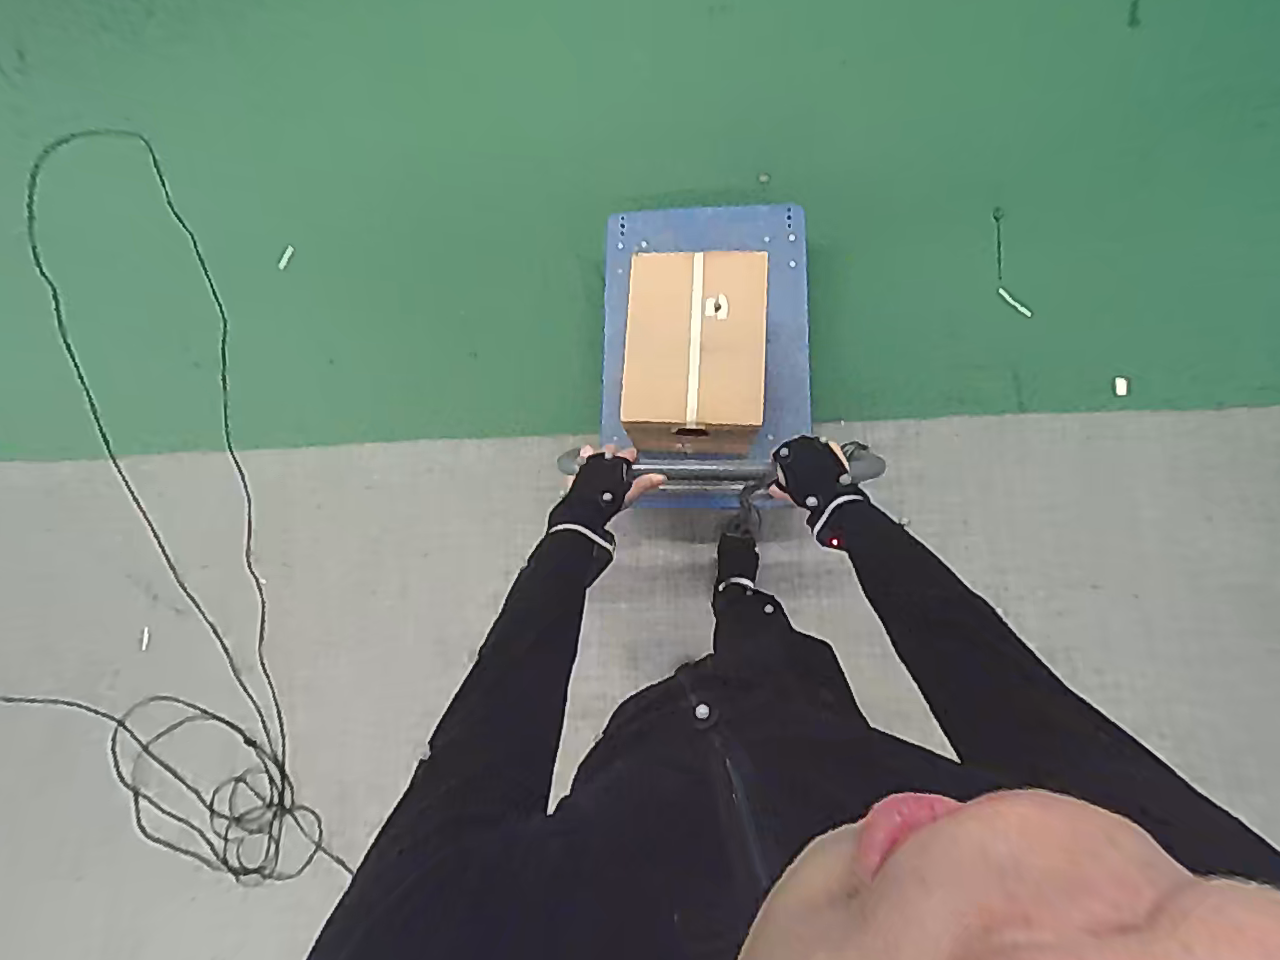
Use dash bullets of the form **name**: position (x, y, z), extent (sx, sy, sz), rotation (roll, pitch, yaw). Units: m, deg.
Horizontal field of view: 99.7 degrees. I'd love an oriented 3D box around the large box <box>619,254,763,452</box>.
- **large box**: position (0.134, -0.296, 1.356), extent (0.320, 0.320, 0.408), rotation (3, 81, 6)
